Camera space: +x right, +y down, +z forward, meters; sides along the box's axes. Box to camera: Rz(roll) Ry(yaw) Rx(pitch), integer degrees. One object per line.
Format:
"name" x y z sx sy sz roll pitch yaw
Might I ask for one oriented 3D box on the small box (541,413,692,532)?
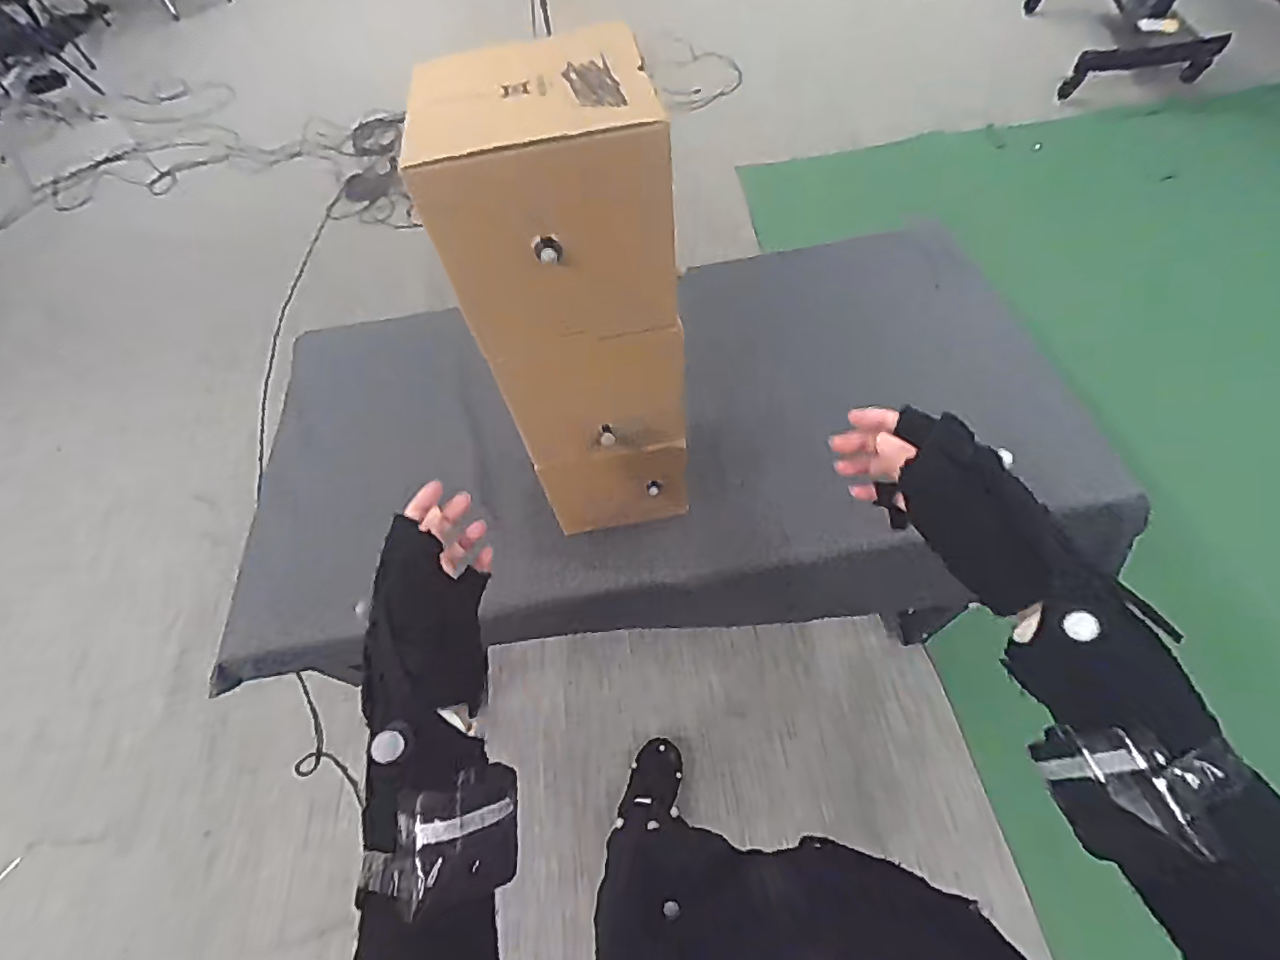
"small box" -0.031 -0.050 0.725 0.179 0.176 0.168 -11 56 0

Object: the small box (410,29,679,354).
"small box" -0.066 -0.231 0.454 0.179 0.176 0.168 -11 57 0

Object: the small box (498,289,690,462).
"small box" -0.048 -0.141 0.591 0.179 0.176 0.168 -11 56 -1
